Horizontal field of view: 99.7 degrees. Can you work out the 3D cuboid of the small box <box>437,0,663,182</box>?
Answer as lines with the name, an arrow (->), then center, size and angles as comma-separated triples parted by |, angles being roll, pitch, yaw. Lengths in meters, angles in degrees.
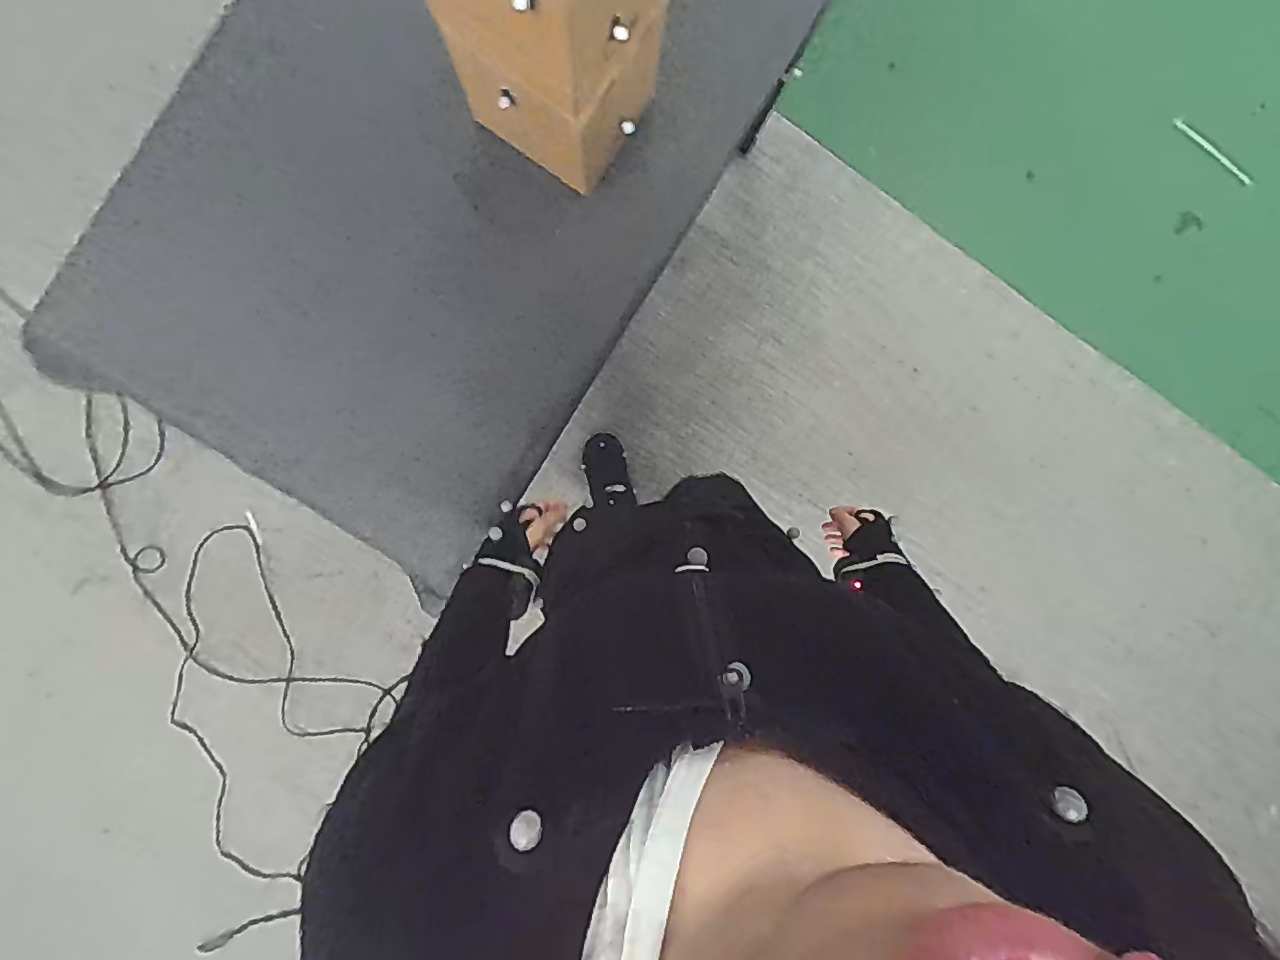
small box -> -0.096, -0.489, 0.625 | 0.179, 0.176, 0.168 | 33, 92, -7

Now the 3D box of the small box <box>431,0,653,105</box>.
small box -> -0.087, -0.479, 0.463 | 0.179, 0.176, 0.168 | 33, 91, -7
